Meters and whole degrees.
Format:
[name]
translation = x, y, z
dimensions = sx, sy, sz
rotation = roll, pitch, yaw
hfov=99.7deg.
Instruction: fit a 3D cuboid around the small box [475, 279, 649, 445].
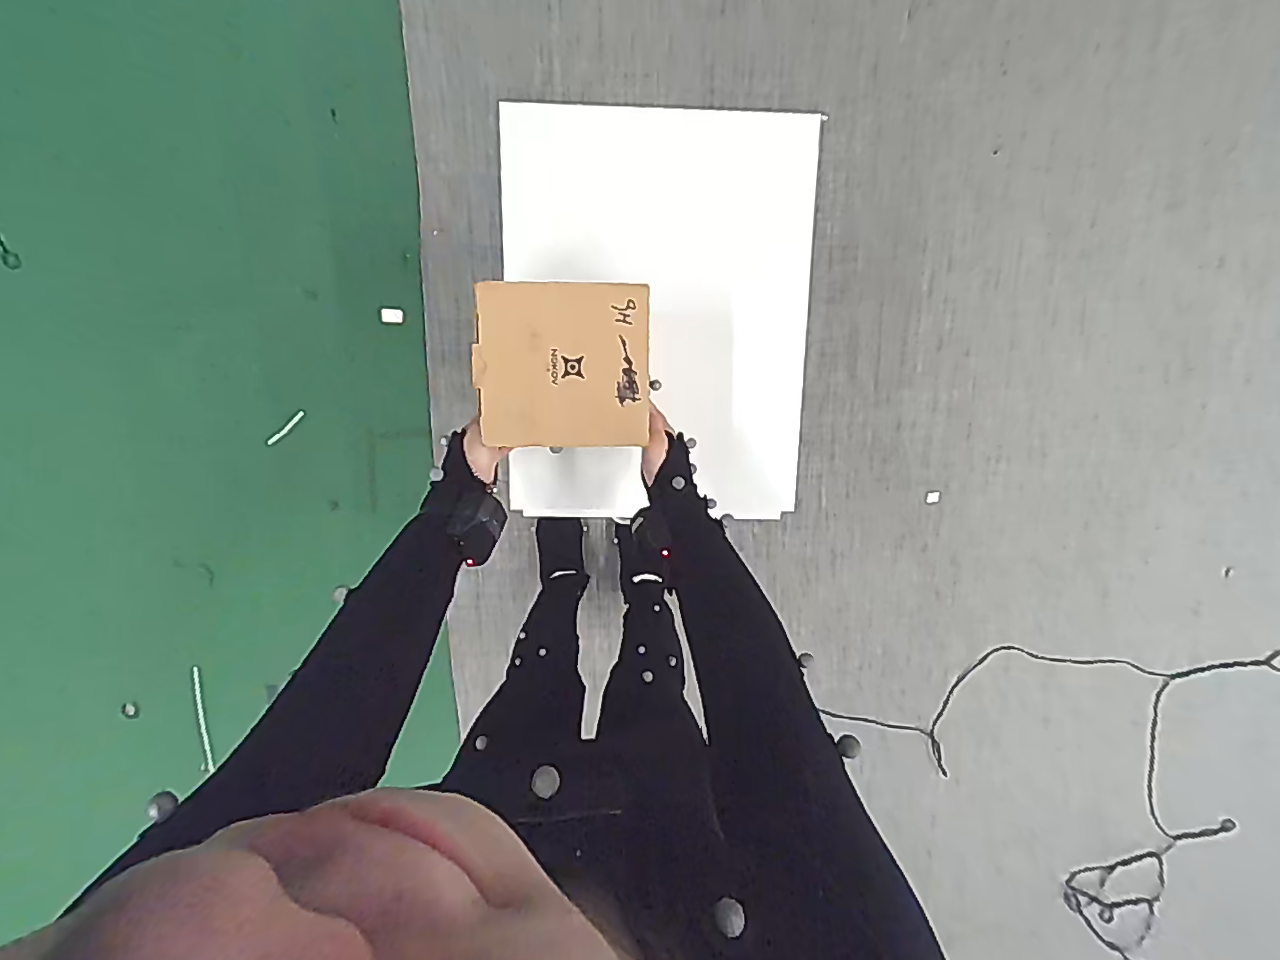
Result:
[small box]
translation = -0.081, -0.129, 0.627
dimensions = 0.179, 0.176, 0.168
rotation = 0, 99, -3
